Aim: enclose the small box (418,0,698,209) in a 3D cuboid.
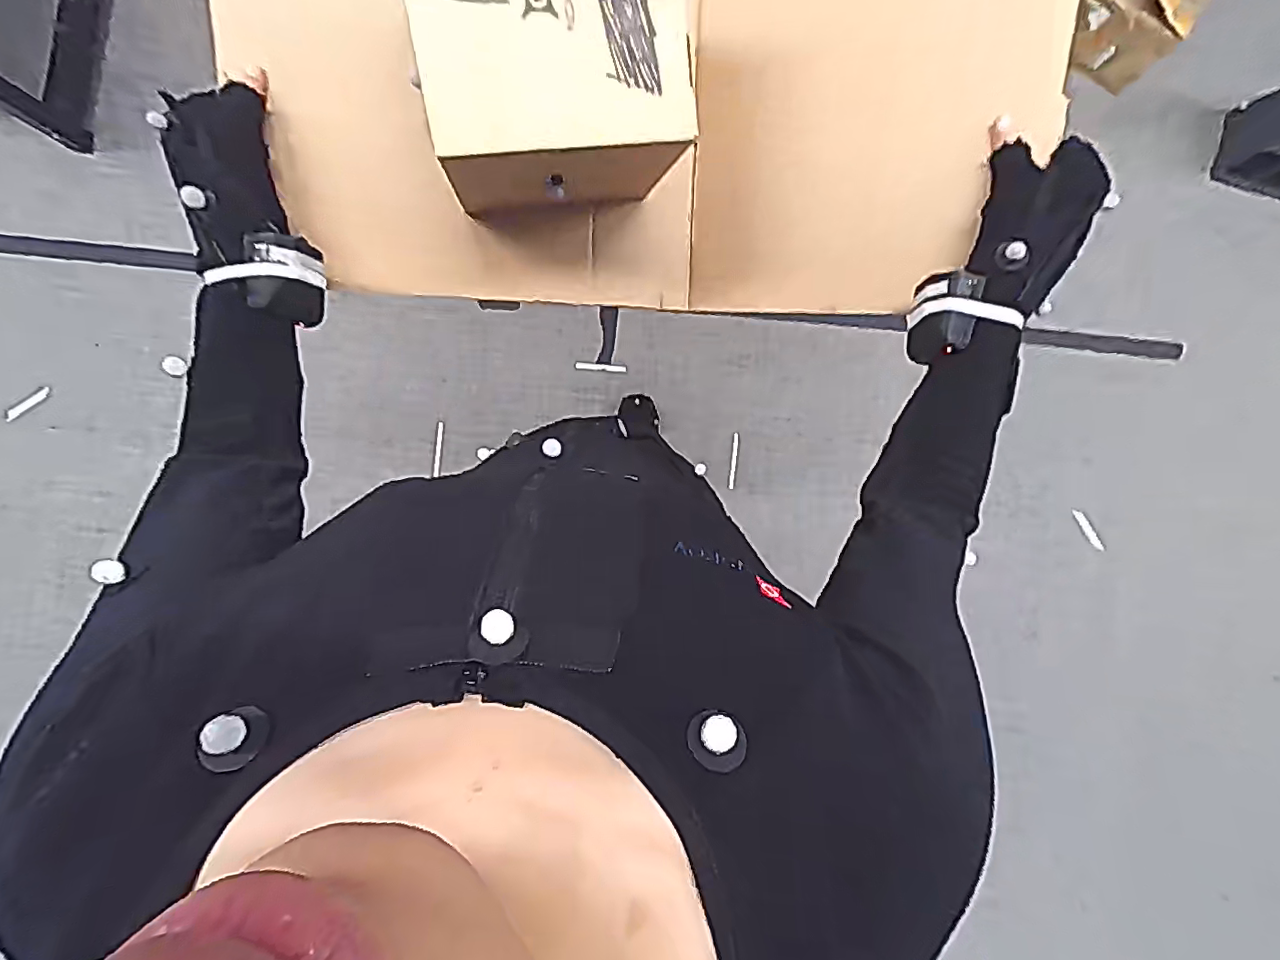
[{"bbox_3d":[-0.067,-0.321,0.420,0.179,0.176,0.168,-10,106,-9],"label":"small box"}]
